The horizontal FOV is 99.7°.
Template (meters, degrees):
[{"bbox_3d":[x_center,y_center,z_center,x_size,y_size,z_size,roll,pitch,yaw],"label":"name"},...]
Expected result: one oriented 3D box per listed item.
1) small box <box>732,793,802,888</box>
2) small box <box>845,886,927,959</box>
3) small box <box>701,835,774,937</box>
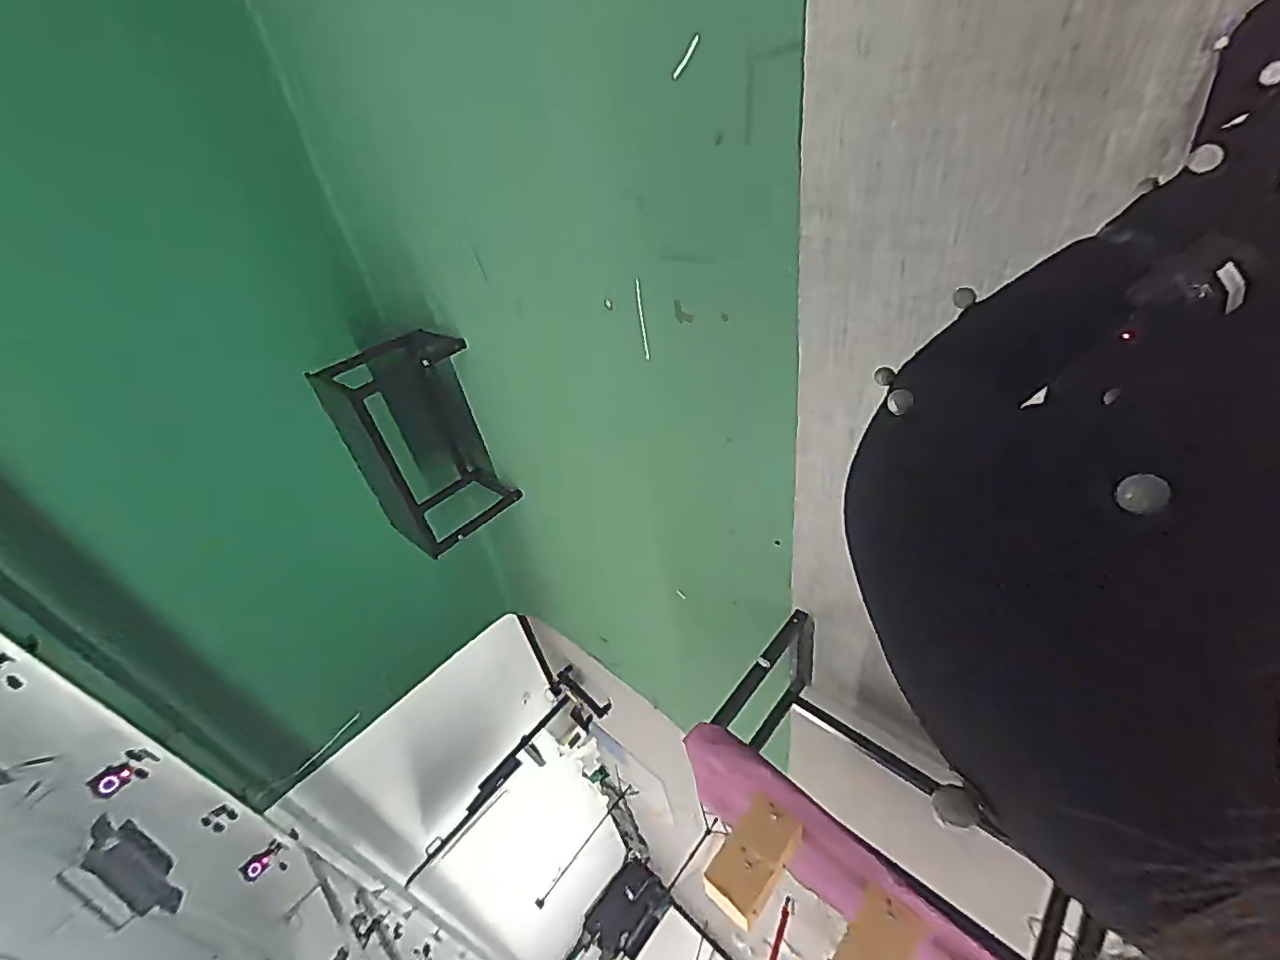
[{"bbox_3d":[0.423,1.194,1.798,0.168,0.176,0.179,24,138,37],"label":"small box"},{"bbox_3d":[0.715,1.345,1.578,0.168,0.176,0.179,22,139,38],"label":"small box"},{"bbox_3d":[0.315,1.283,1.716,0.168,0.176,0.179,23,138,37],"label":"small box"}]
